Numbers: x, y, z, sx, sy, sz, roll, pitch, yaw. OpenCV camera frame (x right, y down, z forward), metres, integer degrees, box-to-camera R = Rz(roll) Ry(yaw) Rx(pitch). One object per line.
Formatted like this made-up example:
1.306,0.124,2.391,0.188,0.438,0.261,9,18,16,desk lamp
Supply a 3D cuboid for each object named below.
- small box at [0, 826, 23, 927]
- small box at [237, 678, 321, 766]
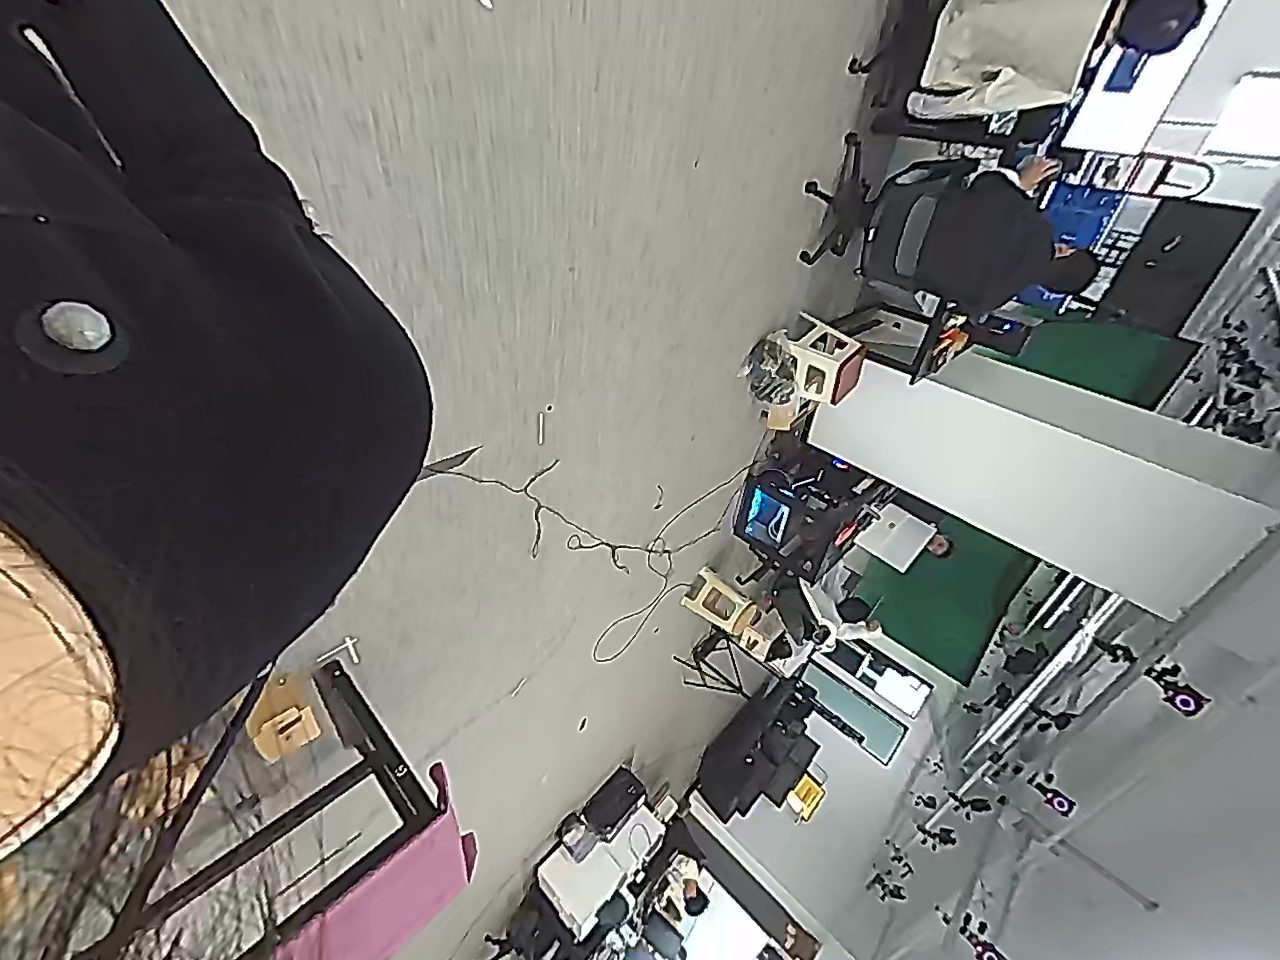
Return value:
-1.655,1.005,1.317,0.179,0.176,0.168,-12,127,-52,small box
-1.188,0.785,1.778,0.168,0.176,0.179,-28,139,-40,small box
